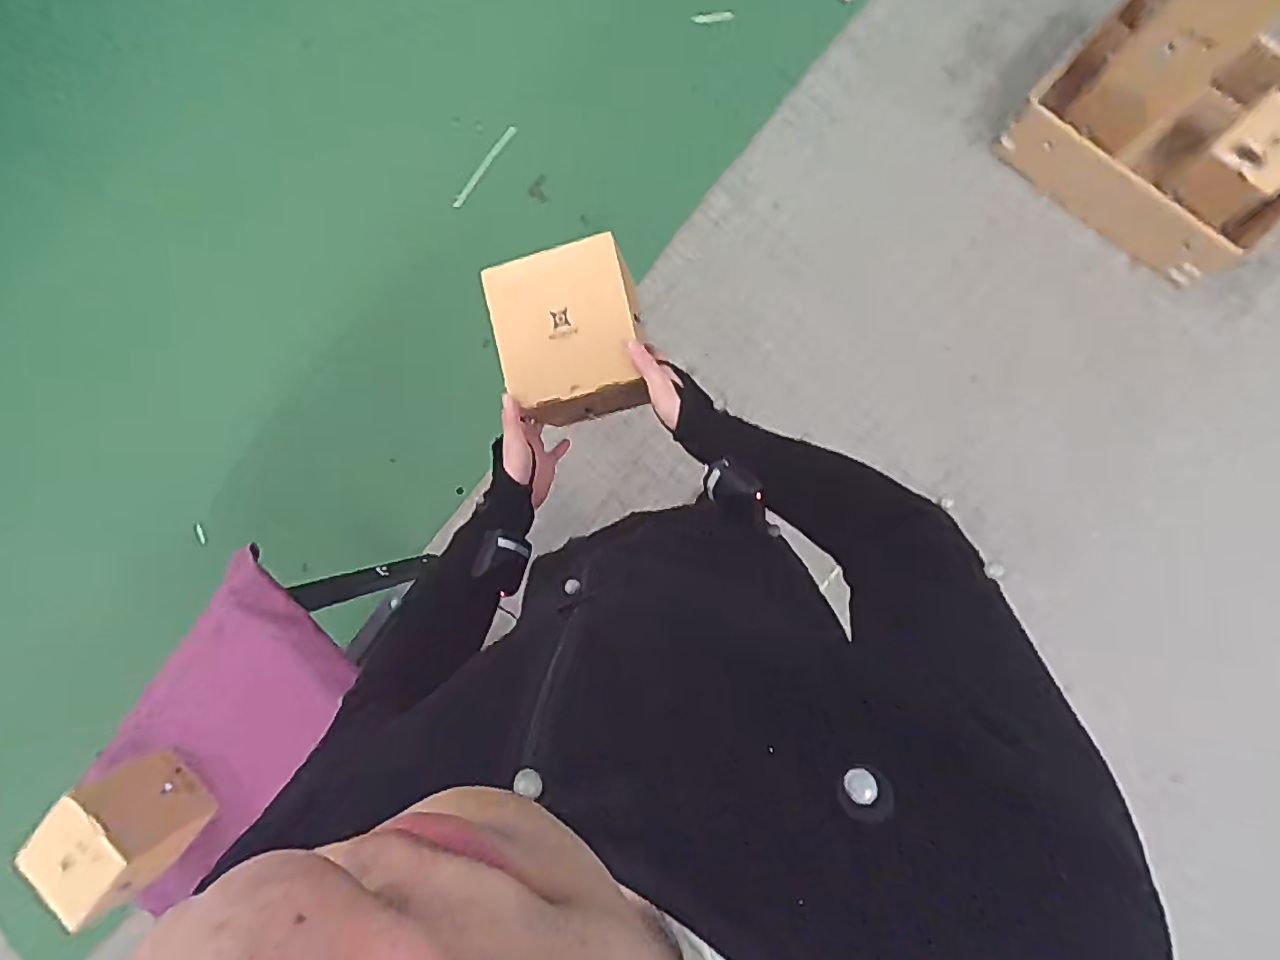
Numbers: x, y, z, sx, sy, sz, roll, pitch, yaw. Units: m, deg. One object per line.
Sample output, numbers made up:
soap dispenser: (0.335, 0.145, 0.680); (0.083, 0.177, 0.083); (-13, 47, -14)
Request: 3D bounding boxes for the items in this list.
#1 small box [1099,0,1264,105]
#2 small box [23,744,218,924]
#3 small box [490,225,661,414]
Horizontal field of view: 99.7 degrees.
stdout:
small box: (1.143, -0.957, 1.142); (0.168, 0.176, 0.179); (40, 96, 8)
small box: (-0.936, 0.634, 0.990); (0.168, 0.176, 0.179); (41, 96, 6)
small box: (-0.073, -0.194, 0.705); (0.168, 0.176, 0.179); (-13, 90, 7)
